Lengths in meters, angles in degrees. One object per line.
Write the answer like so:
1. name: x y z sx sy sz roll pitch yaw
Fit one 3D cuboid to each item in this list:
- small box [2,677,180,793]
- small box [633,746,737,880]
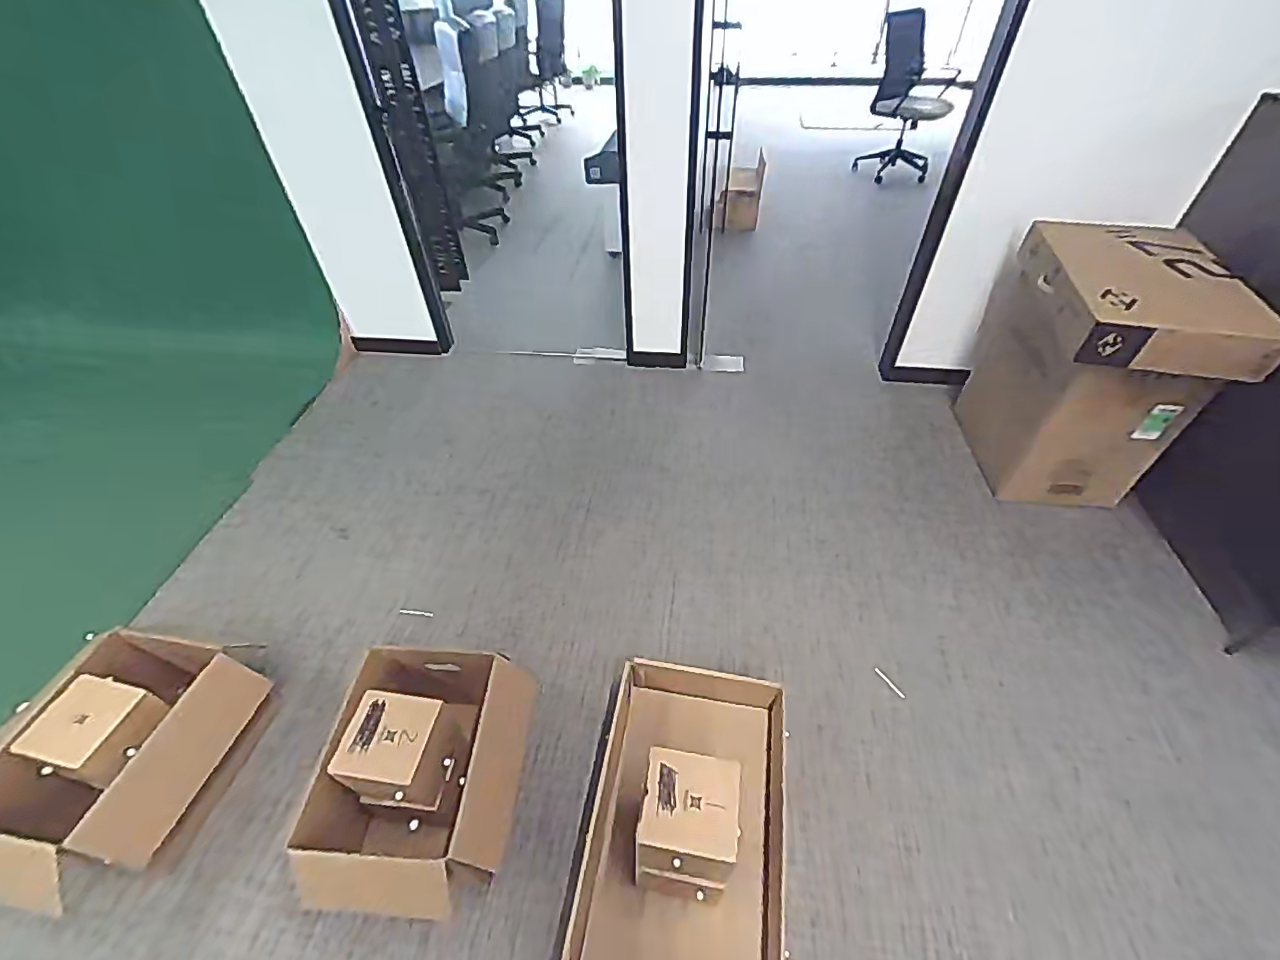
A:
1. small box: -1.174 0.559 1.176 0.179 0.176 0.168 9 45 8
2. small box: 0.085 0.643 1.041 0.179 0.176 0.168 8 44 6
